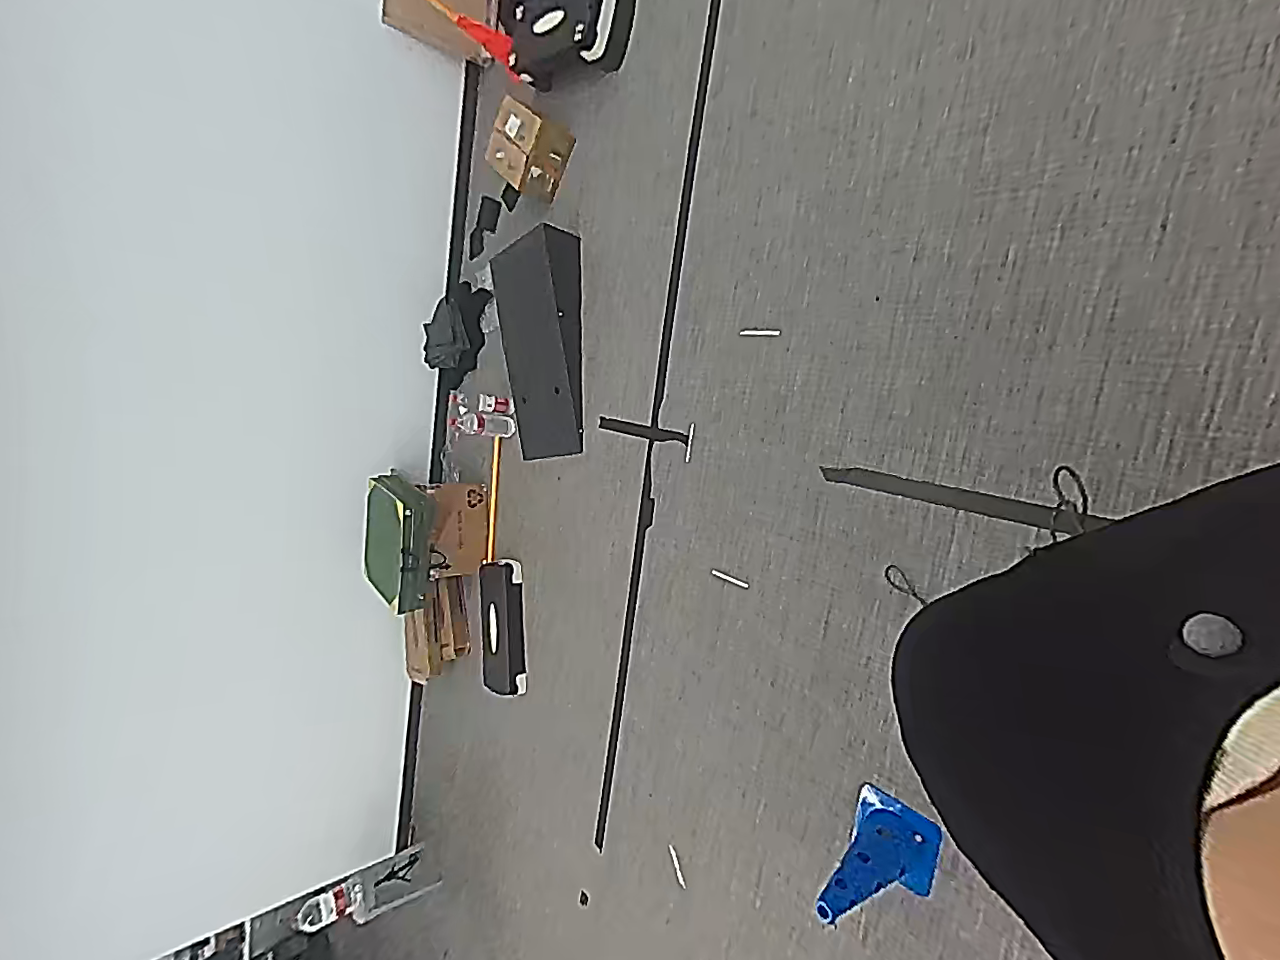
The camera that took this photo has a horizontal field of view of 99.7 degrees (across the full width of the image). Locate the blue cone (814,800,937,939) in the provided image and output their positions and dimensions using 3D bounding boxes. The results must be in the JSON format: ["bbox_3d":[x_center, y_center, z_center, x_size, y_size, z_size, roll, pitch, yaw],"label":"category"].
[{"bbox_3d":[0.519,0.933,1.256,0.193,0.380,0.192,18,104,47],"label":"blue cone"}]
